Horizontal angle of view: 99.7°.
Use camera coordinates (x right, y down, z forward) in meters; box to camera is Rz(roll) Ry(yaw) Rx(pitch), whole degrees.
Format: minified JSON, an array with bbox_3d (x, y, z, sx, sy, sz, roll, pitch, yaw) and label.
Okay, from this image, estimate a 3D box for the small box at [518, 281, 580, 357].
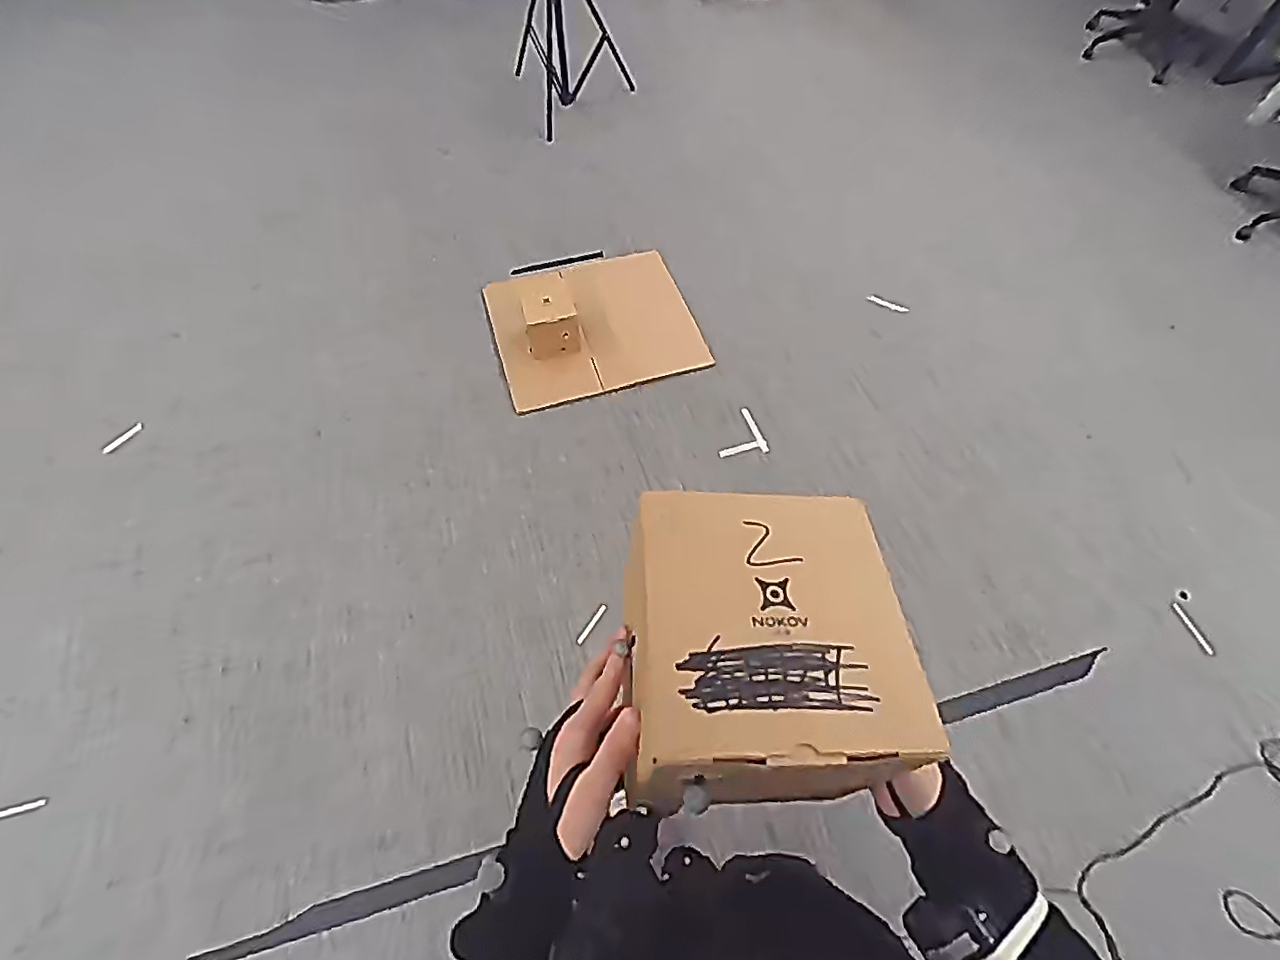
[{"bbox_3d":[-0.303,-0.537,1.827,0.168,0.176,0.179,-14,62,-10],"label":"small box"}]
